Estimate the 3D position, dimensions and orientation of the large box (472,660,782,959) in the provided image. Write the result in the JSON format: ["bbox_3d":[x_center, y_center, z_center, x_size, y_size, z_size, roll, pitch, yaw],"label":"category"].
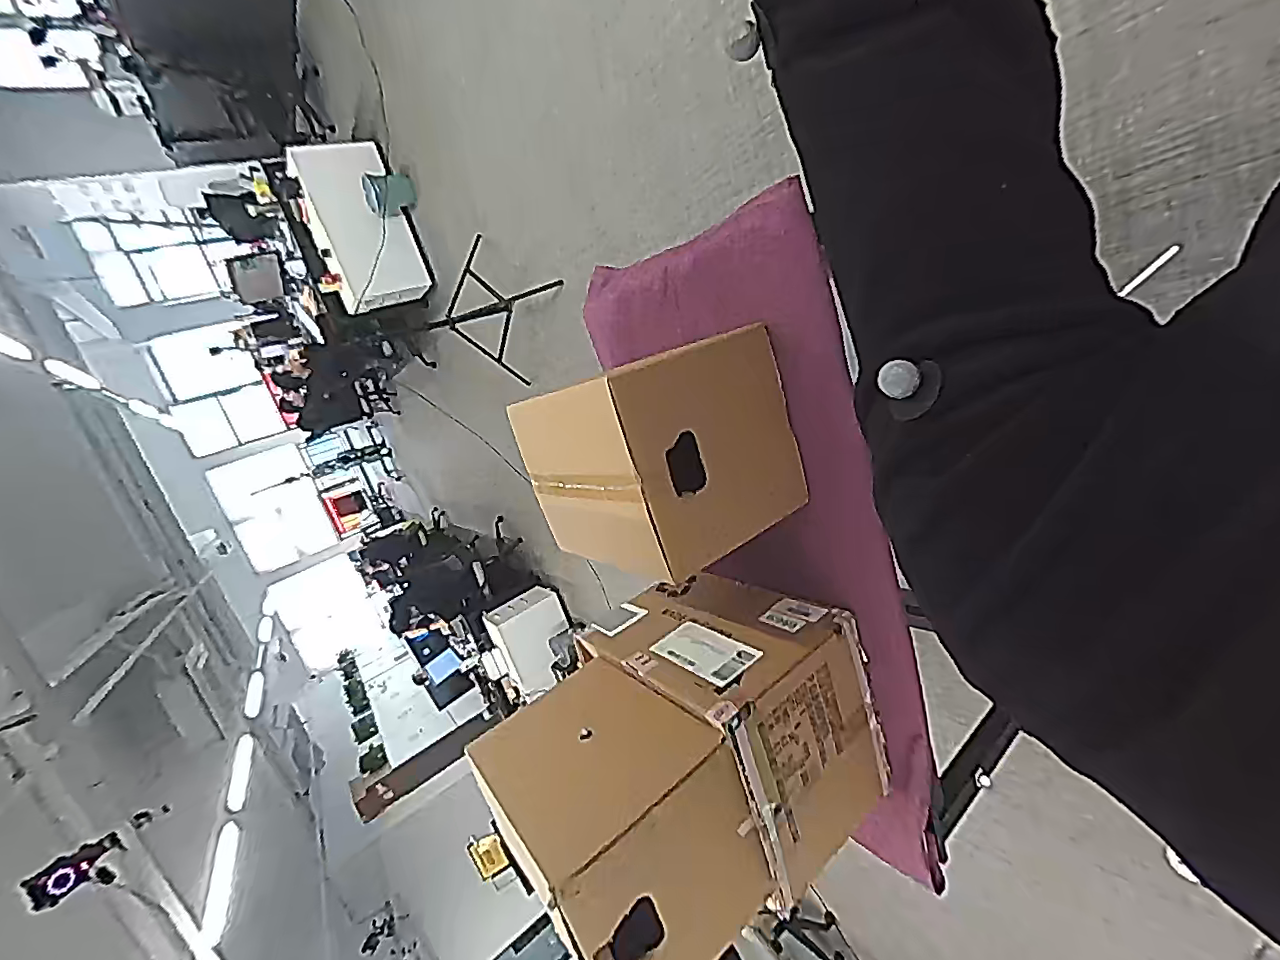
[{"bbox_3d":[-0.037,0.566,0.926,0.408,0.320,0.320,1,115,57],"label":"large box"}]
